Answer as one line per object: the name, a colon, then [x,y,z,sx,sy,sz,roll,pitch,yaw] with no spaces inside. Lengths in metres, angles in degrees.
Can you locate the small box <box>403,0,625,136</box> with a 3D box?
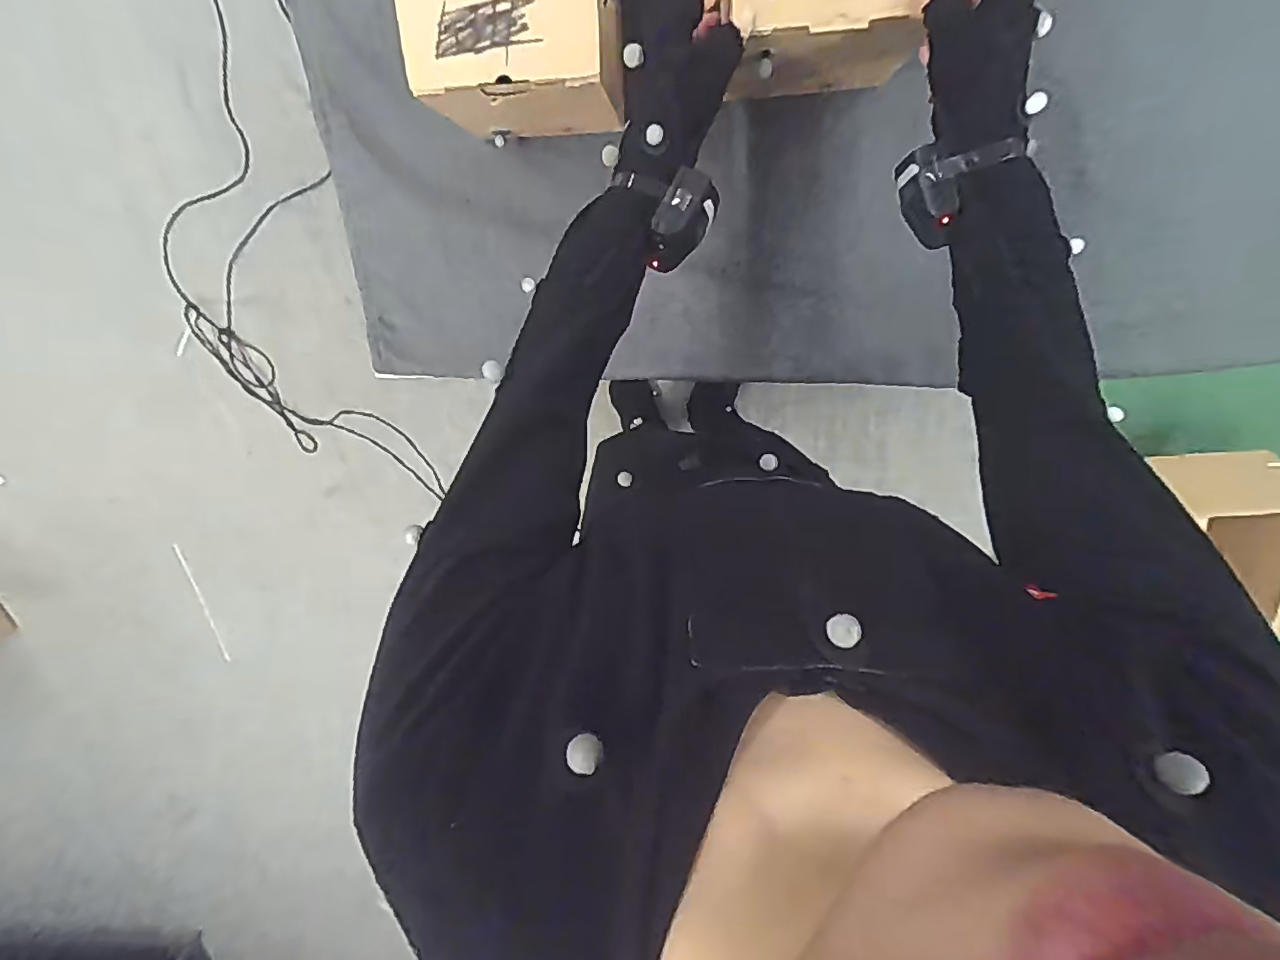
small box: [-0.105,-0.437,0.501,0.168,0.176,0.179,0,109,5]
